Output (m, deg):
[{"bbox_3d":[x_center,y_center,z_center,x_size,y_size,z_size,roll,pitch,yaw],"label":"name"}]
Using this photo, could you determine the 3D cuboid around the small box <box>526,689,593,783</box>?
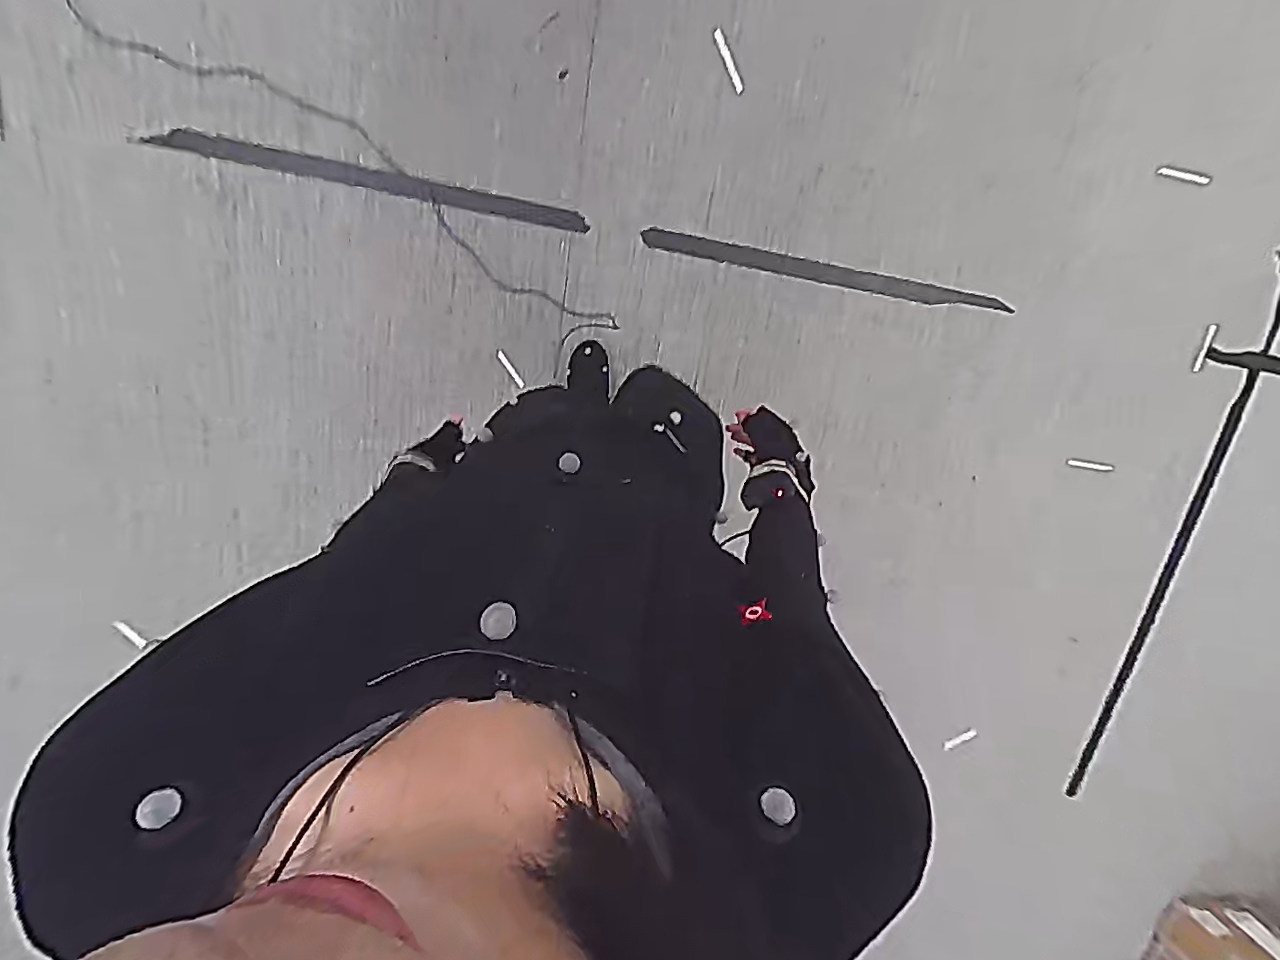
[{"bbox_3d":[-0.236,0.764,1.626,0.168,0.176,0.179,-11,105,-4],"label":"small box"}]

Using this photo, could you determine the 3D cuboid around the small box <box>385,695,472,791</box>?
[{"bbox_3d":[-0.608,0.765,1.591,0.179,0.176,0.168,-16,105,0],"label":"small box"}]
